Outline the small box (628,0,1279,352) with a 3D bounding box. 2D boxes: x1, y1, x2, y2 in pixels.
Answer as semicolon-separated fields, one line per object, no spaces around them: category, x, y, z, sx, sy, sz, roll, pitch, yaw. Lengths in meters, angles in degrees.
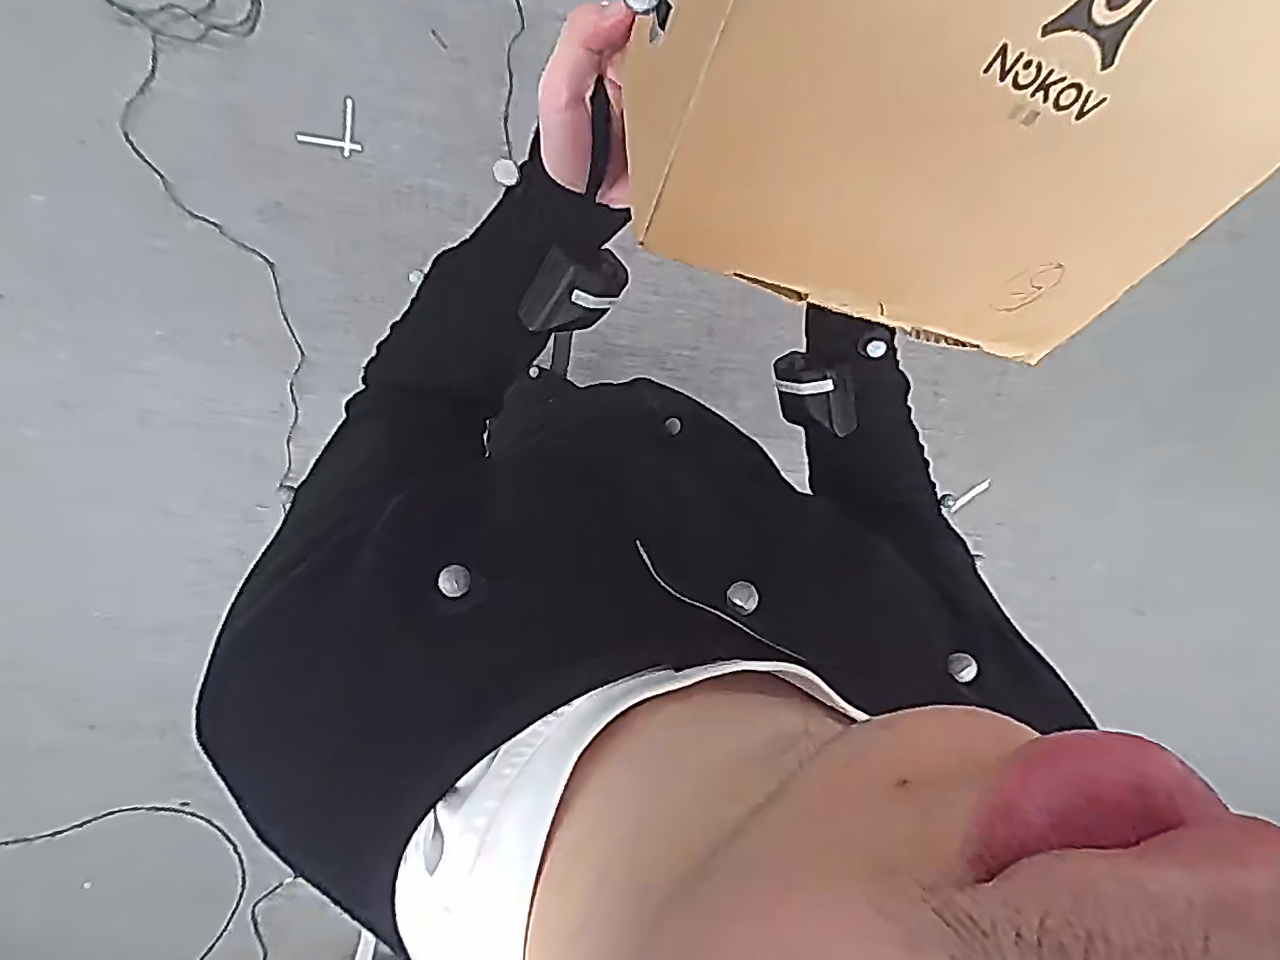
small box;0.098;-0.178;0.181;0.168;0.176;0.179;9;141;-18
